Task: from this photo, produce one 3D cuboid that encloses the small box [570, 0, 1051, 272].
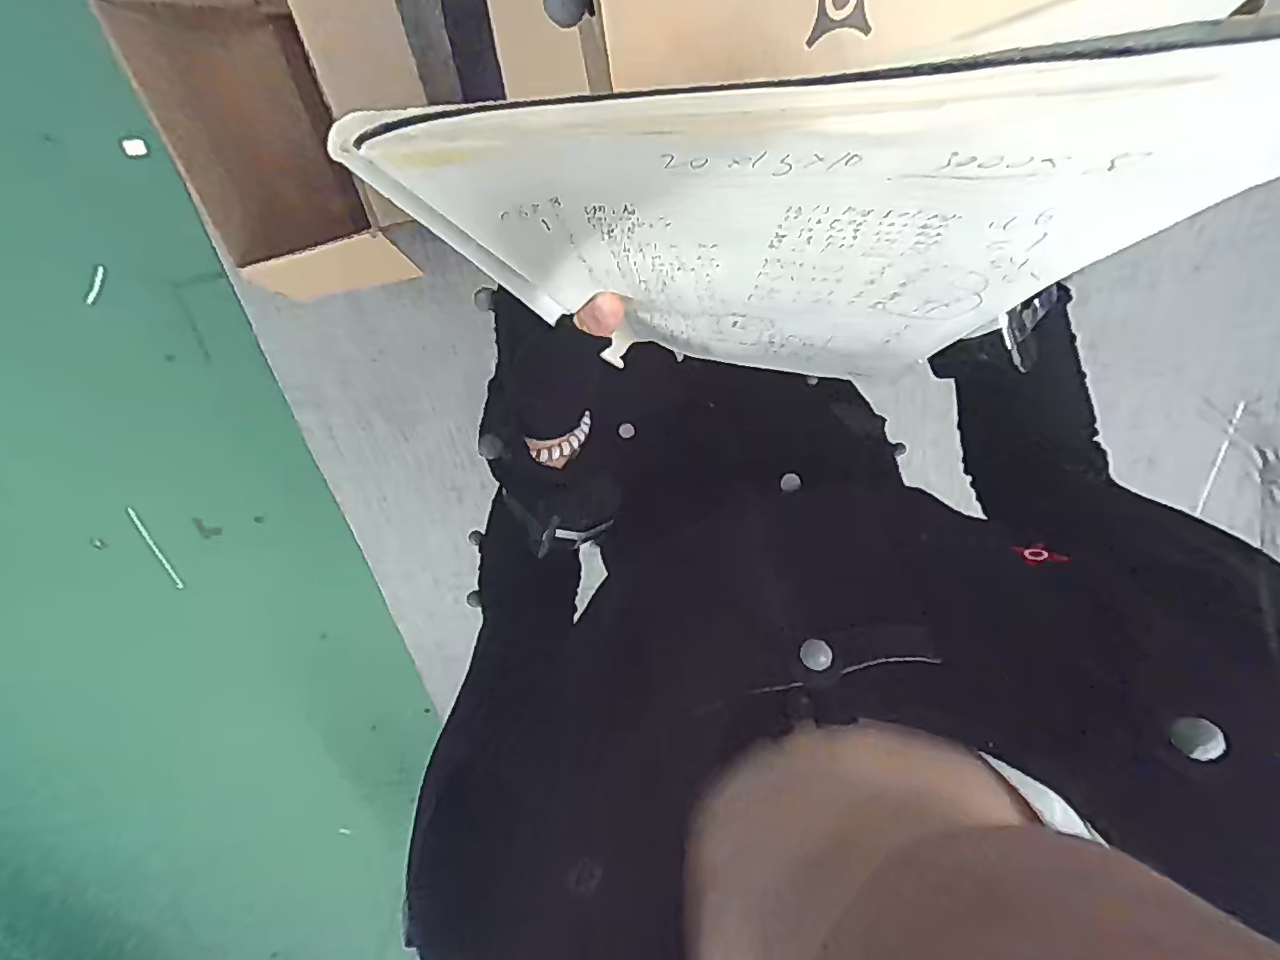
[{"bbox_3d":[0.053,-0.222,0.239,0.168,0.176,0.179,-12,132,1],"label":"small box"}]
